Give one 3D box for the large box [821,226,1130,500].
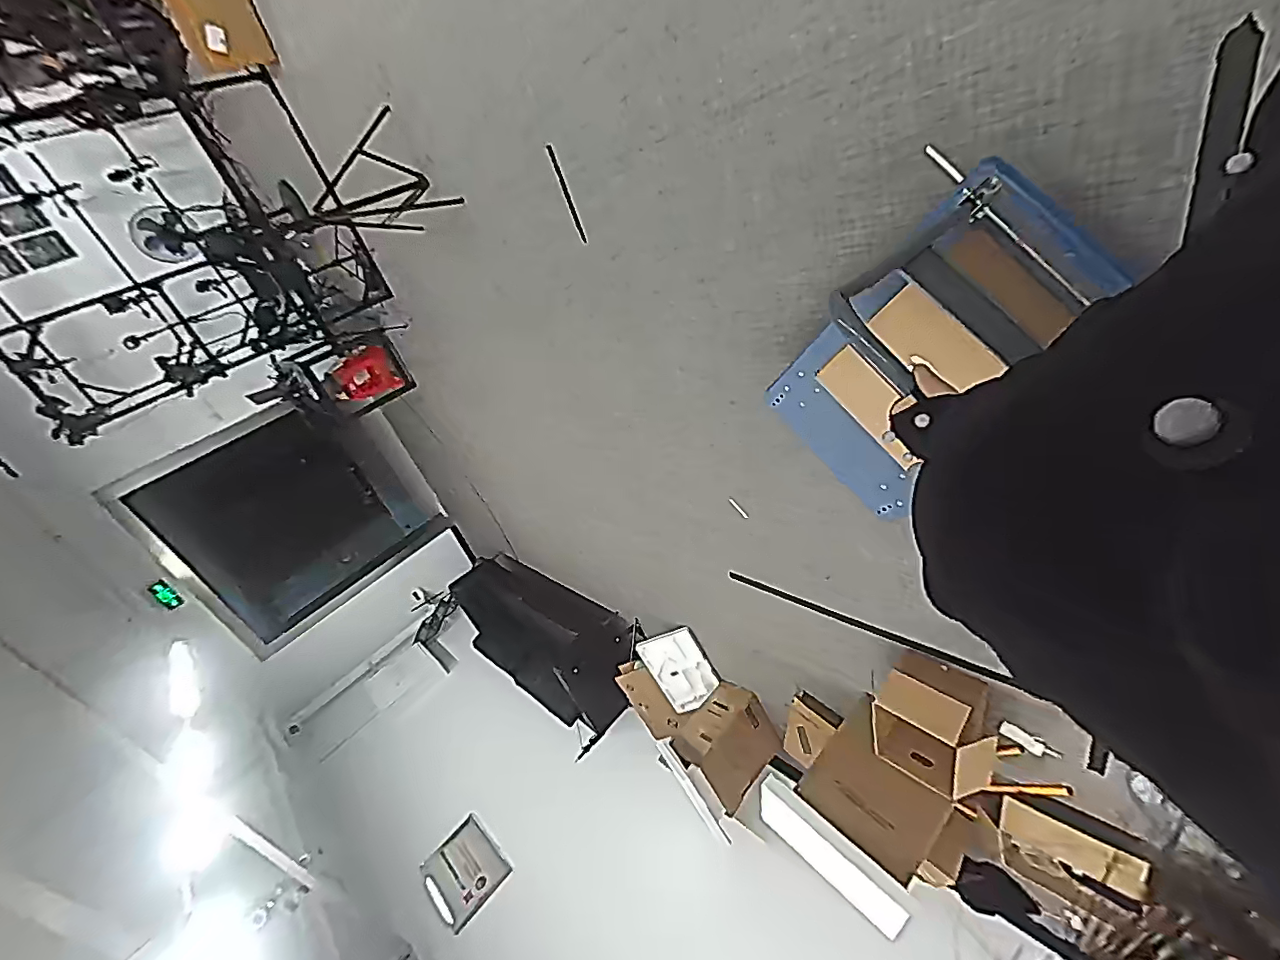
[{"bbox_3d":[0.687,-0.239,1.139,0.408,0.320,0.320,48,150,7],"label":"large box"}]
